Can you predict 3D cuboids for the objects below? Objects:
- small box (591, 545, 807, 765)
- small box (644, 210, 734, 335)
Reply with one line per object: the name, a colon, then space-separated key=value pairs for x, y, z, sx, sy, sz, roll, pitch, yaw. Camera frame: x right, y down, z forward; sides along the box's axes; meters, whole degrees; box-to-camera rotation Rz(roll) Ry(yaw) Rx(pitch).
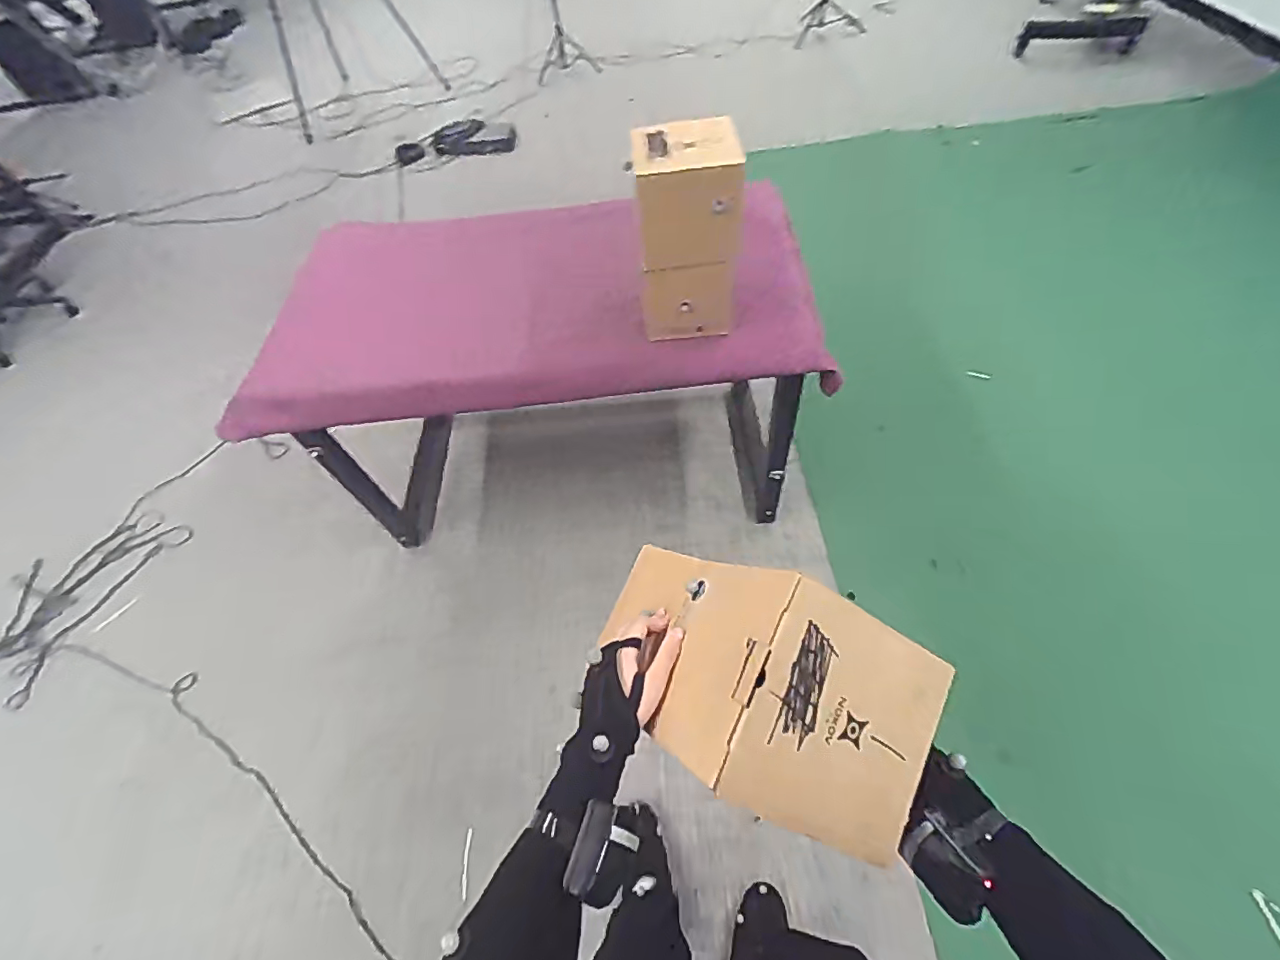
small box: x=0.056 y=0.191 z=0.638 sx=0.168 sy=0.176 sz=0.179 roll=29 pitch=78 yaw=-16
small box: x=0.098 y=-0.406 z=1.080 sx=0.168 sy=0.176 sz=0.179 roll=-3 pitch=55 yaw=5
